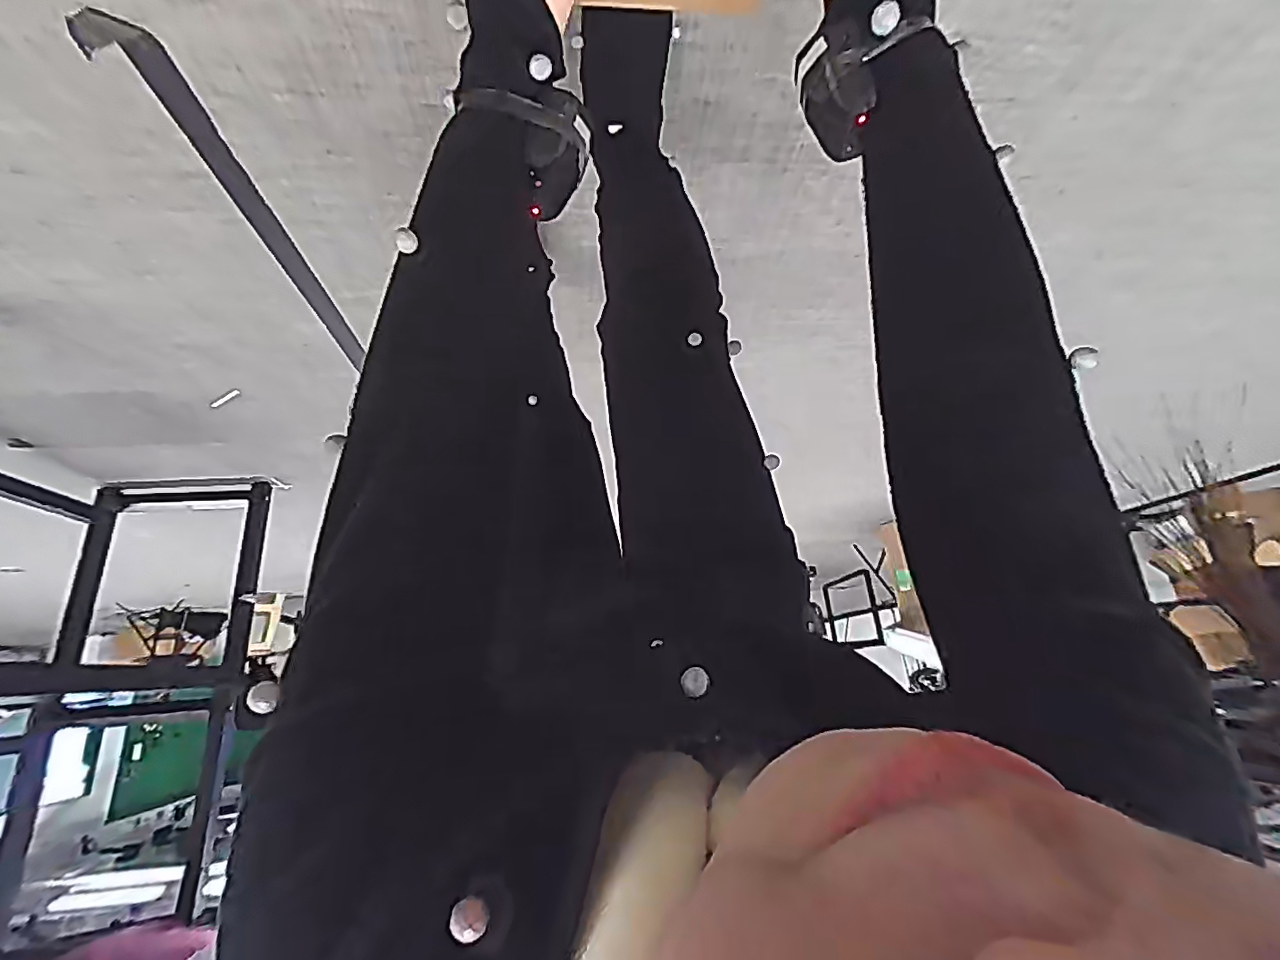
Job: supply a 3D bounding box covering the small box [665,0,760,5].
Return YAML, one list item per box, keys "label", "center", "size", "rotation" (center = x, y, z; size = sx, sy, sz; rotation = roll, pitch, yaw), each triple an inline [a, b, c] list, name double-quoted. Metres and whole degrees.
- label: "small box"
  center: [0.005, -0.443, 0.331]
  size: [0.179, 0.176, 0.168]
  rotation: [-2, 160, -7]
